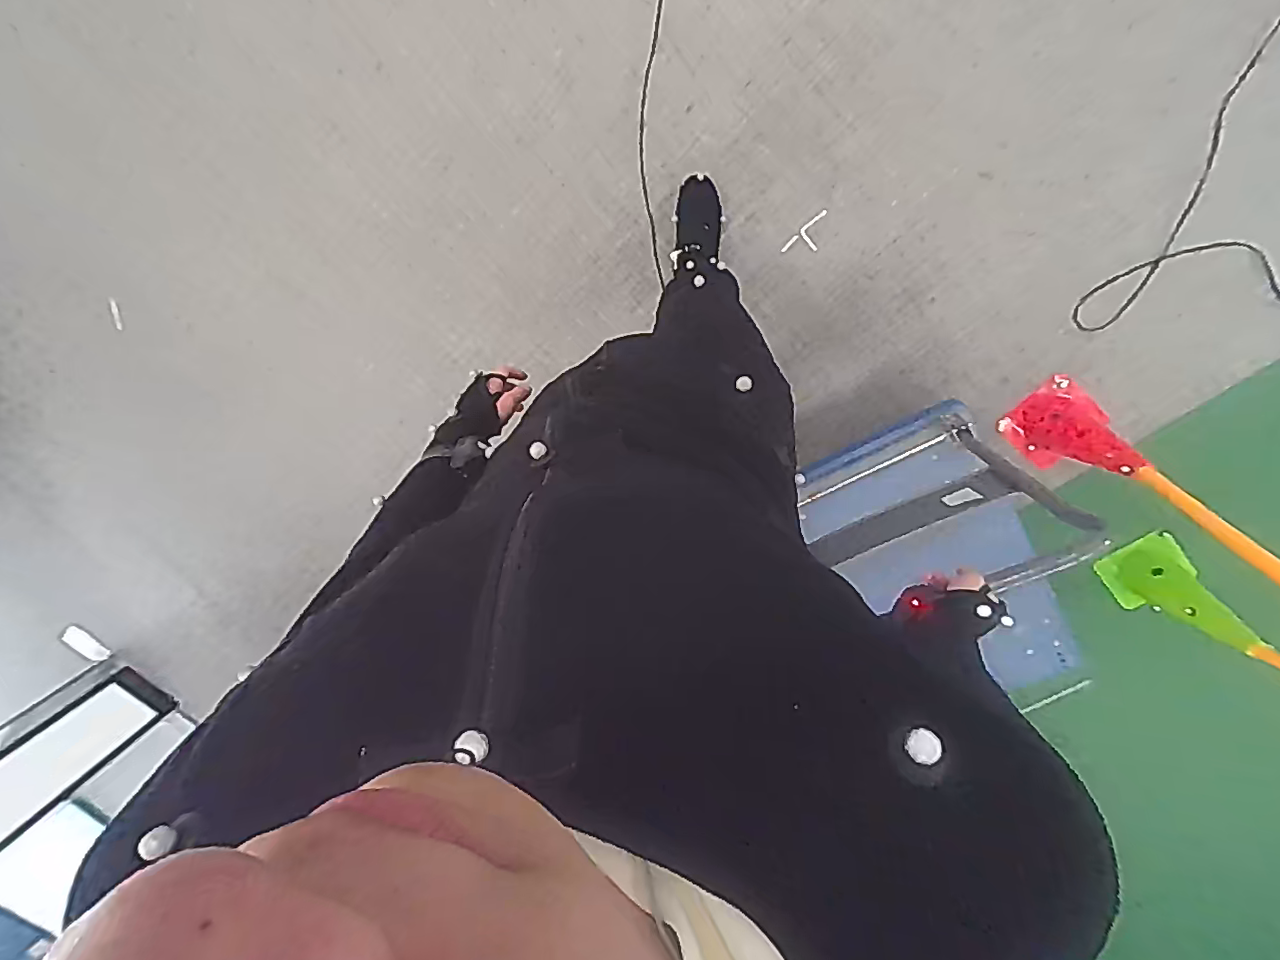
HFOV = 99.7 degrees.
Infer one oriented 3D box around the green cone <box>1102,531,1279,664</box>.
[{"bbox_3d":[1.411,0.321,1.356,0.200,0.368,0.202,-40,102,21],"label":"green cone"}]
